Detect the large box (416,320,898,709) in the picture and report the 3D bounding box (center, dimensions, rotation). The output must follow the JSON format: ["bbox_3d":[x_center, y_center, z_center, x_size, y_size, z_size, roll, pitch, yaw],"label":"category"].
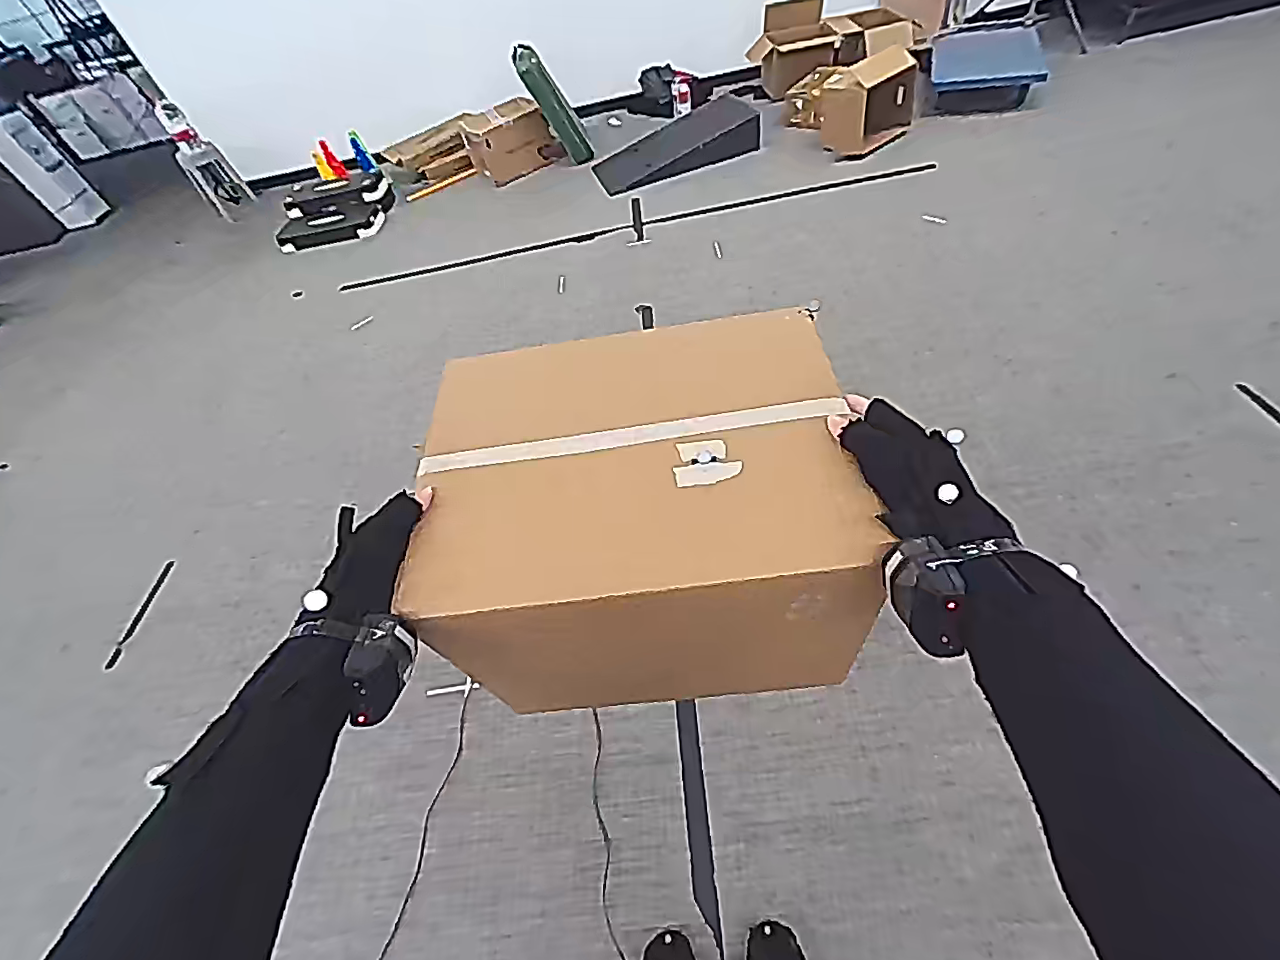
[{"bbox_3d":[0.016,0.055,0.642,0.408,0.320,0.320,-7,53,4],"label":"large box"}]
